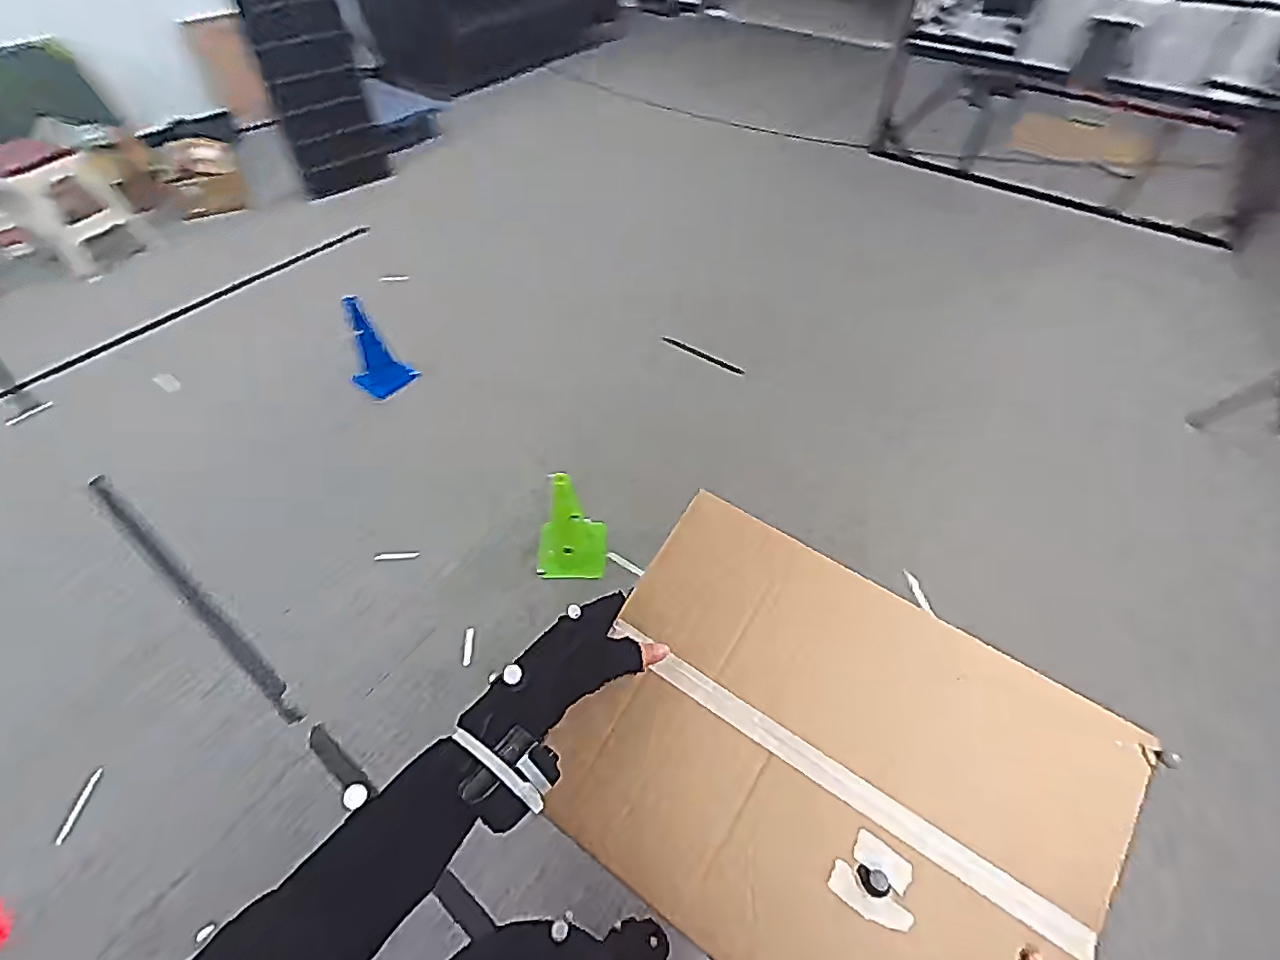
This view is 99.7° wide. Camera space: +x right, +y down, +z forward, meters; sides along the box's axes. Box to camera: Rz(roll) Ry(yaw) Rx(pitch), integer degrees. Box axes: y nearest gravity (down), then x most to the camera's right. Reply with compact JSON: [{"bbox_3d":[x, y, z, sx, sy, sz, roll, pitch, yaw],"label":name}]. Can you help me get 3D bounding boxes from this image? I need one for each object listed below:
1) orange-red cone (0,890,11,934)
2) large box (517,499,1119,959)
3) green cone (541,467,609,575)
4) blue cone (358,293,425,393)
[{"bbox_3d":[-1.418,0.822,0.963,0.199,0.360,0.198,30,58,19],"label":"orange-red cone"},{"bbox_3d":[0.152,0.282,0.581,0.408,0.320,0.320,29,74,17],"label":"large box"},{"bbox_3d":[-0.195,0.098,1.551,0.200,0.368,0.202,1,50,-1],"label":"green cone"},{"bbox_3d":[-0.990,-0.532,2.052,0.193,0.380,0.192,35,58,23],"label":"blue cone"}]
